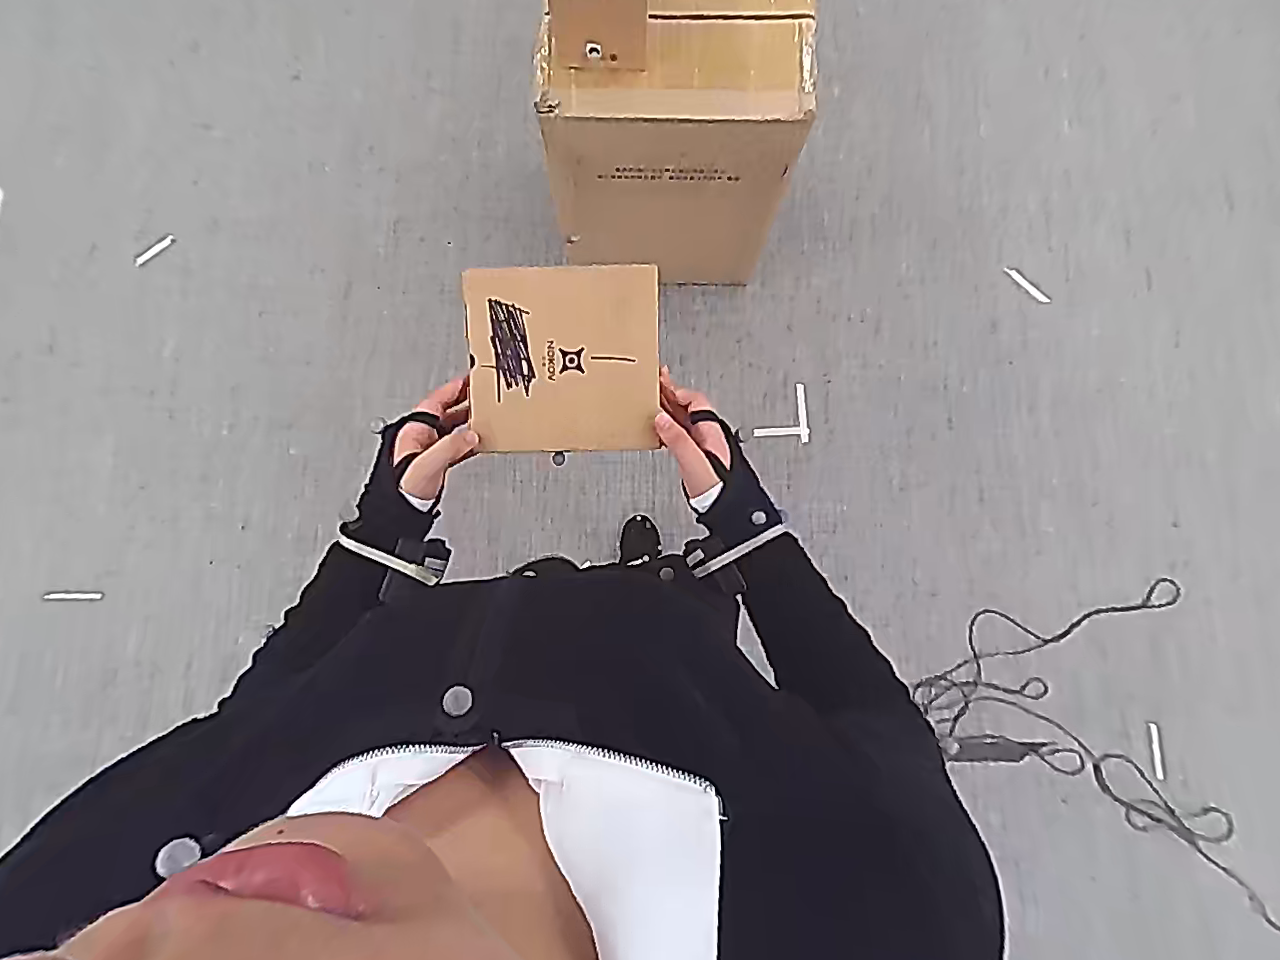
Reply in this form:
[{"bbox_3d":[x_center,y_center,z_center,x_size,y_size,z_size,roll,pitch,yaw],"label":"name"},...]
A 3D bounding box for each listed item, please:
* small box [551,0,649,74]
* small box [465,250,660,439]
[{"bbox_3d":[-0.066,-0.854,0.936,0.168,0.176,0.179,0,85,0],"label":"small box"},{"bbox_3d":[-0.068,-0.127,0.565,0.179,0.176,0.168,-1,94,1],"label":"small box"}]
